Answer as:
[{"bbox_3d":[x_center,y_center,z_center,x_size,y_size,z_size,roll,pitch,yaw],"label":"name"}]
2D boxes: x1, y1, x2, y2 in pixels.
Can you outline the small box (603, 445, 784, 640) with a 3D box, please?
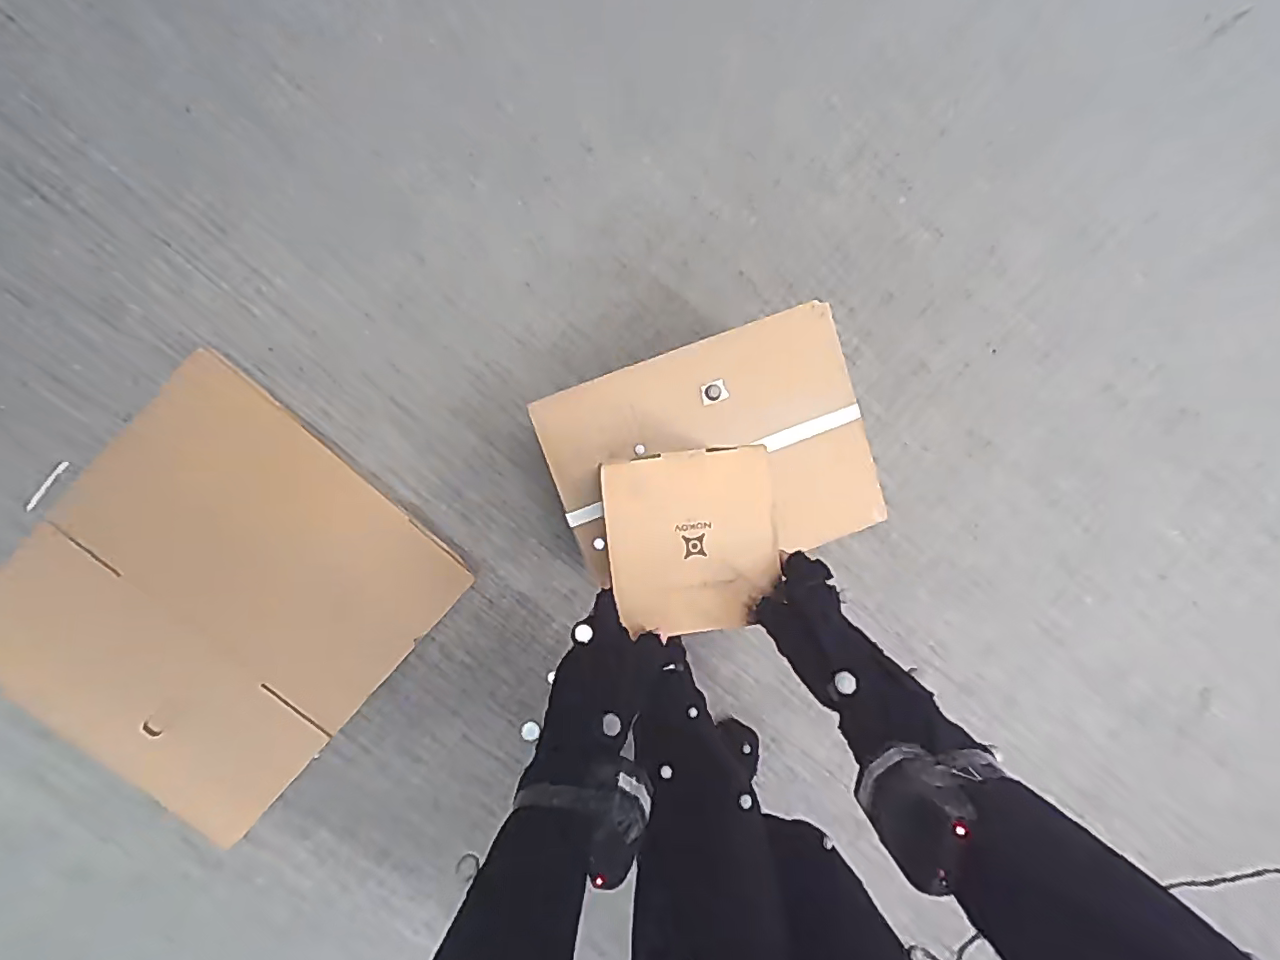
[{"bbox_3d":[0.048,0.061,0.609,0.168,0.176,0.179,-8,92,-3],"label":"small box"}]
